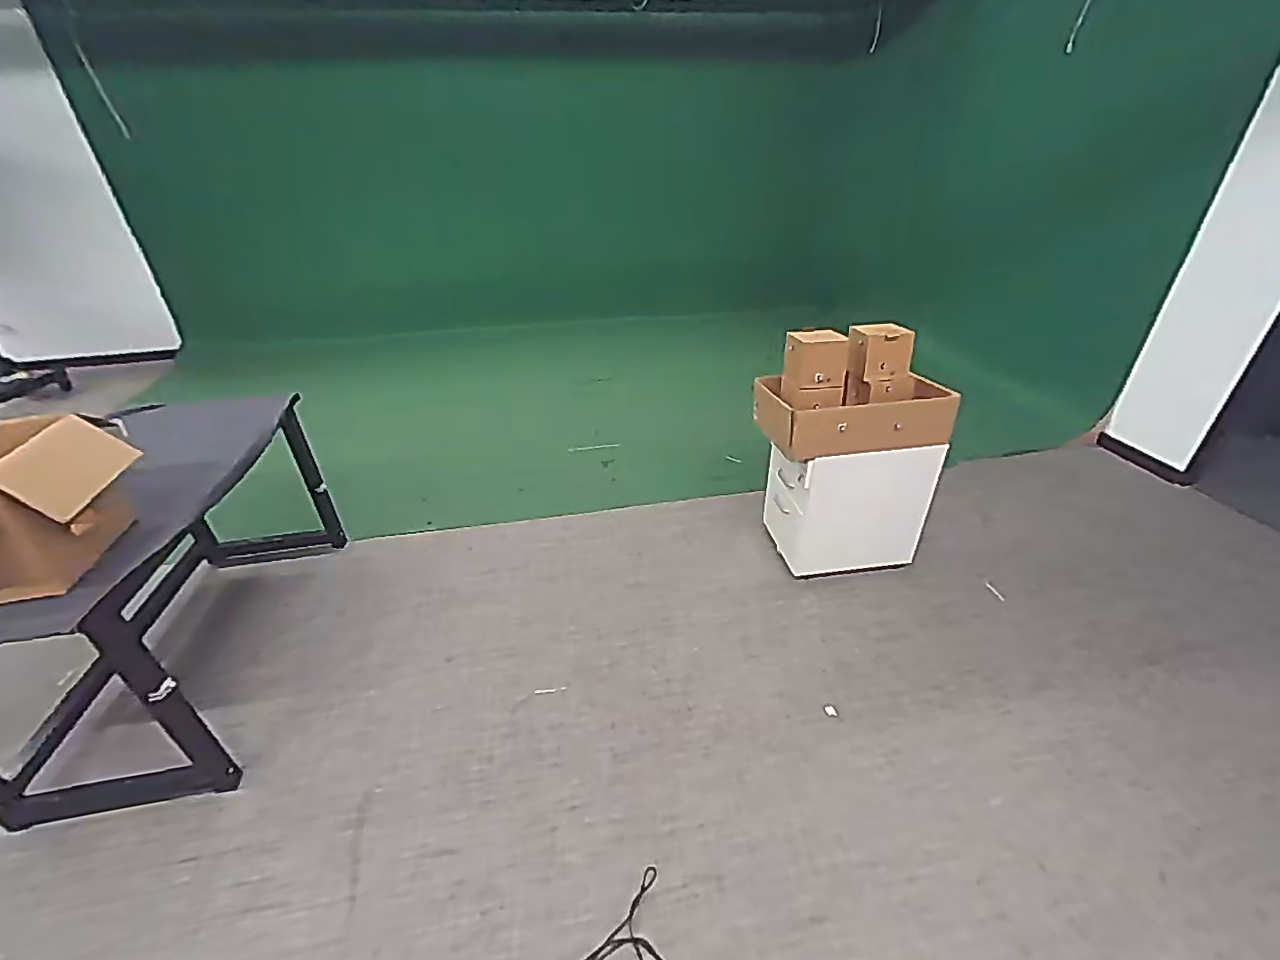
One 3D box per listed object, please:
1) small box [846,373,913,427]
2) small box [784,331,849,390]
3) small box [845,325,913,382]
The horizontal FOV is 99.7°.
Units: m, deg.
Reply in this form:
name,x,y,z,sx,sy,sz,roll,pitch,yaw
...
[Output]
name,x,y,z,sx,sy,sz,roll,pitch,yaw
small box,0.894,-0.309,2.038,0.168,0.176,0.179,-8,27,-4
small box,0.625,-0.430,1.939,0.168,0.176,0.179,-5,28,-4
small box,0.872,-0.467,1.992,0.168,0.176,0.179,-4,27,-2
